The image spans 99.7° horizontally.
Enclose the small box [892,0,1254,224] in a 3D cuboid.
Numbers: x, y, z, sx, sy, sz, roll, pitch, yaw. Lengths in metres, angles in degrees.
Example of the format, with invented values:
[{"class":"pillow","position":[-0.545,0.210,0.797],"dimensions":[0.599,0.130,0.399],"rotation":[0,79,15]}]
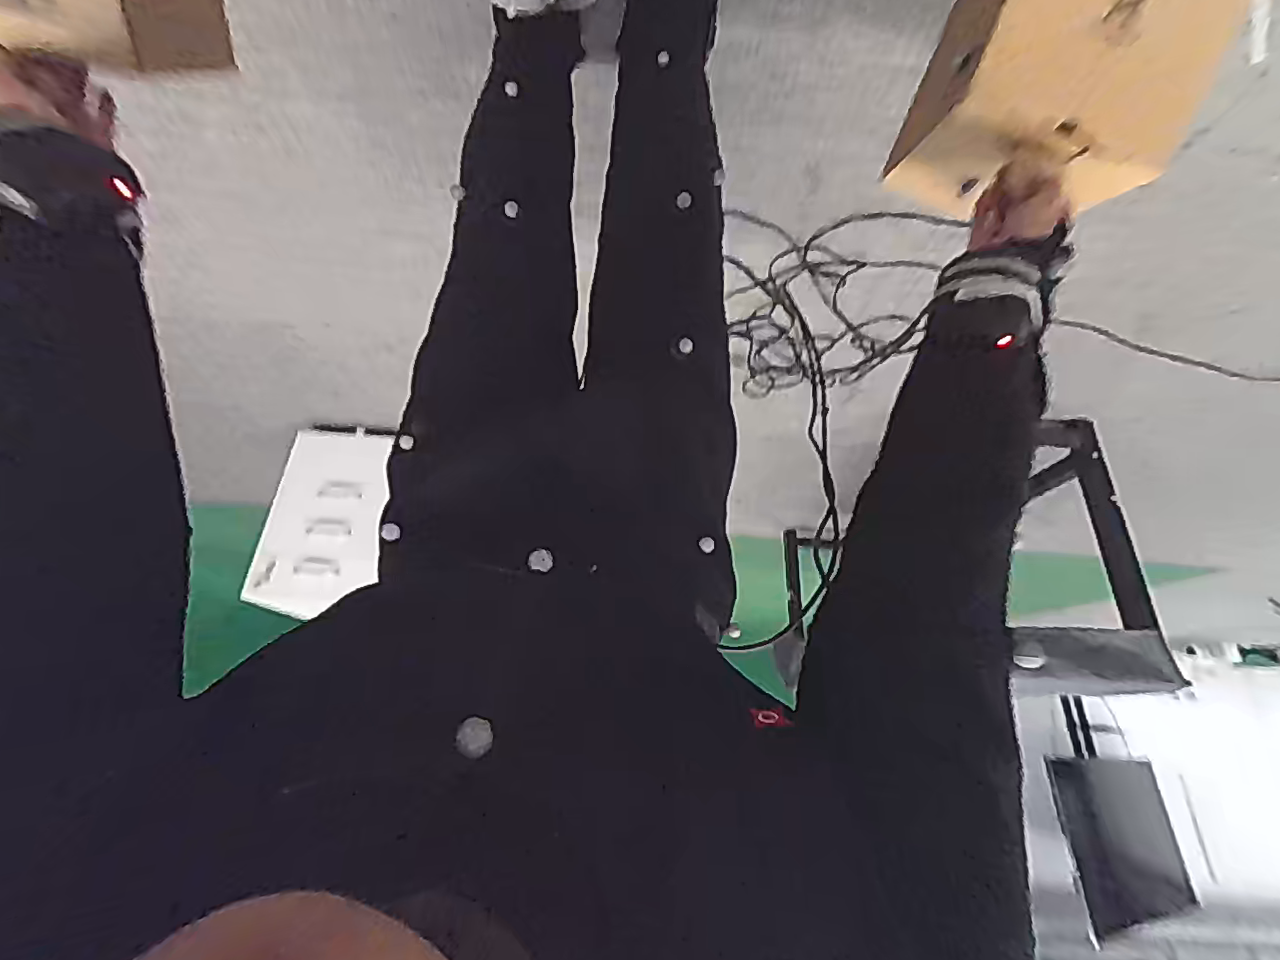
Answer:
[{"class":"small box","position":[0.354,-0.357,0.471],"dimensions":[0.168,0.179,0.176],"rotation":[21,-169,-2]}]
